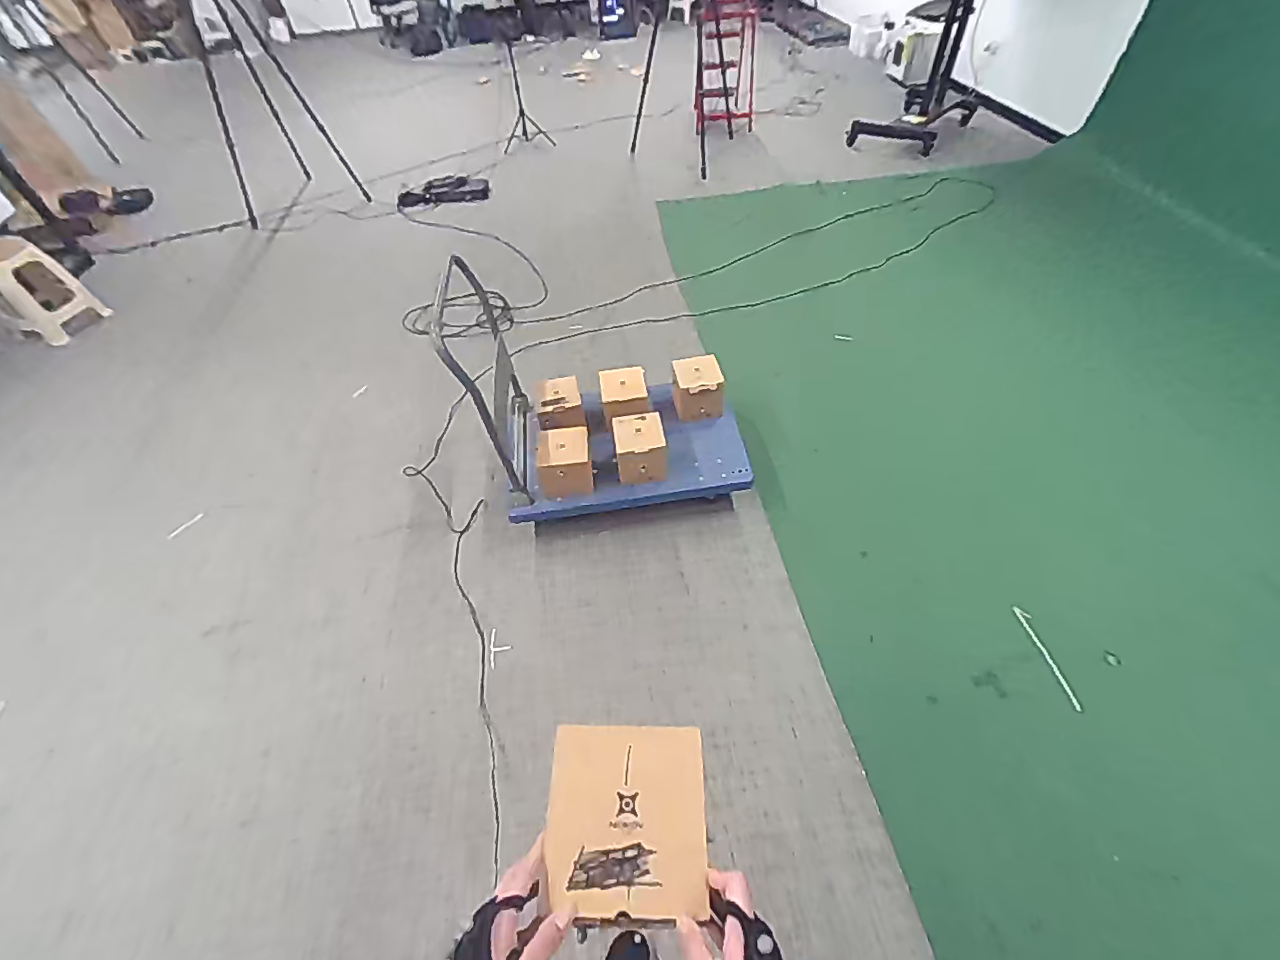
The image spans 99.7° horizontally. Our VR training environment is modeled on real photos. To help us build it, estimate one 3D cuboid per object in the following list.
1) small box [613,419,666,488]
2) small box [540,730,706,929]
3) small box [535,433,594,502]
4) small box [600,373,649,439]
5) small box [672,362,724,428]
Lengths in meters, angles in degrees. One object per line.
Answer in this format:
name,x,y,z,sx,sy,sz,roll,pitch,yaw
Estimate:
small box,-0.001,-0.087,1.877,0.168,0.176,0.179,-7,50,-3
small box,-0.014,0.411,0.634,0.168,0.176,0.179,1,48,0
small box,-0.256,-0.038,1.856,0.179,0.176,0.168,-5,50,-2
small box,-0.058,-0.278,2.050,0.168,0.176,0.179,-8,51,-3
small box,0.218,-0.324,2.063,0.168,0.176,0.179,-9,50,-2
